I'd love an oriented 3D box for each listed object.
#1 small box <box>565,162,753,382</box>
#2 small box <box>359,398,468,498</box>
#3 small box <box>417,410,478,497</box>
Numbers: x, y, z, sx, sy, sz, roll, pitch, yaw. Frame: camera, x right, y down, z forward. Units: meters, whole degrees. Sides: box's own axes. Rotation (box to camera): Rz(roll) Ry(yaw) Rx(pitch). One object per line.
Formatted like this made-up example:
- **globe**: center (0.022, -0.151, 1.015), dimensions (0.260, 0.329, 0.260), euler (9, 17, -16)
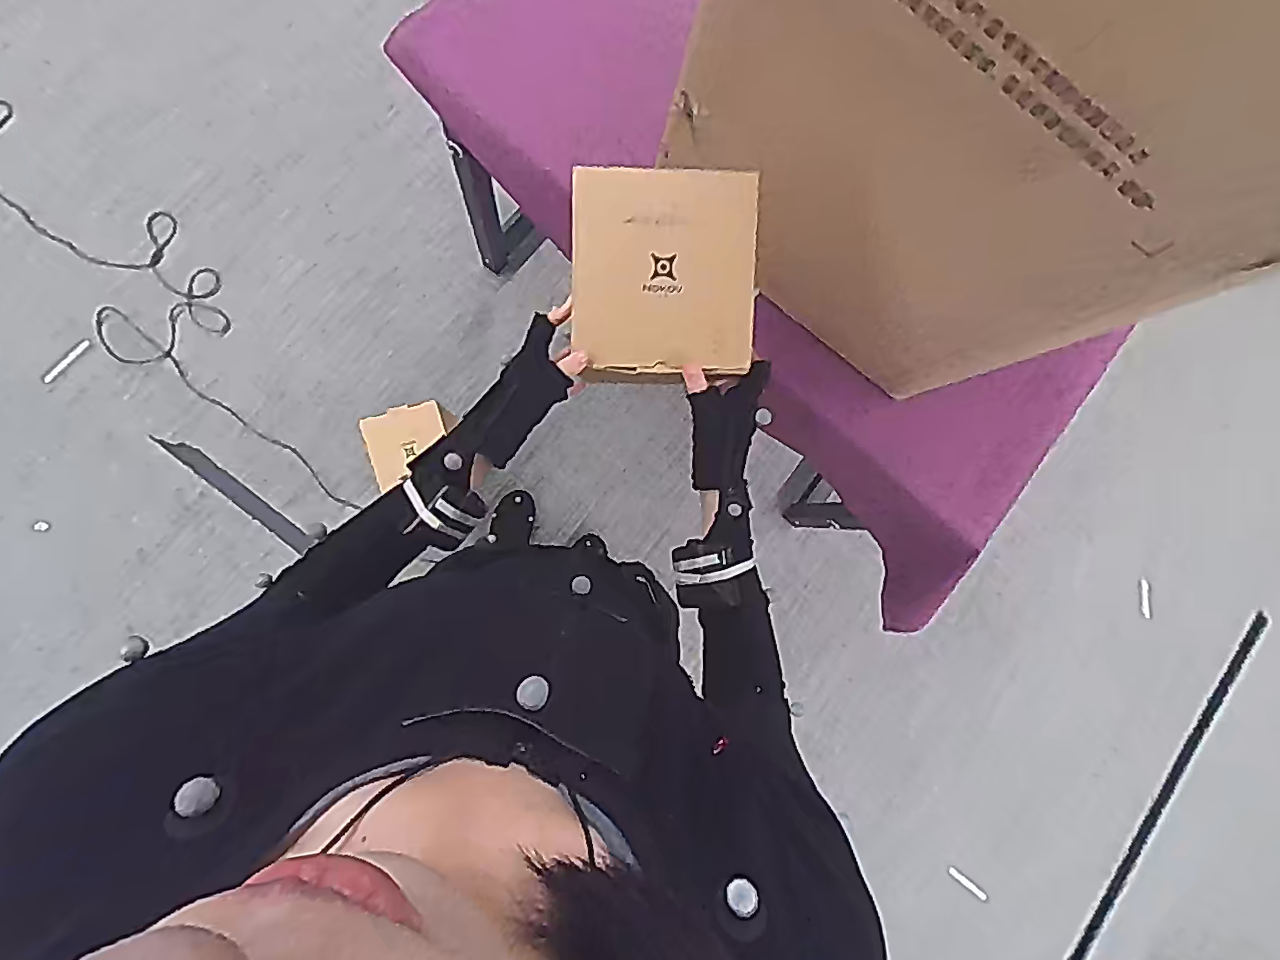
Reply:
- **small box**: center (0.012, -0.195, 0.558), dimensions (0.168, 0.176, 0.179), euler (0, 95, -4)
- **small box**: center (-0.504, -0.066, 1.225), dimensions (0.168, 0.176, 0.179), euler (-17, 89, -10)
- **small box**: center (-0.530, -0.061, 1.387), dimensions (0.168, 0.176, 0.179), euler (-19, 90, -10)
